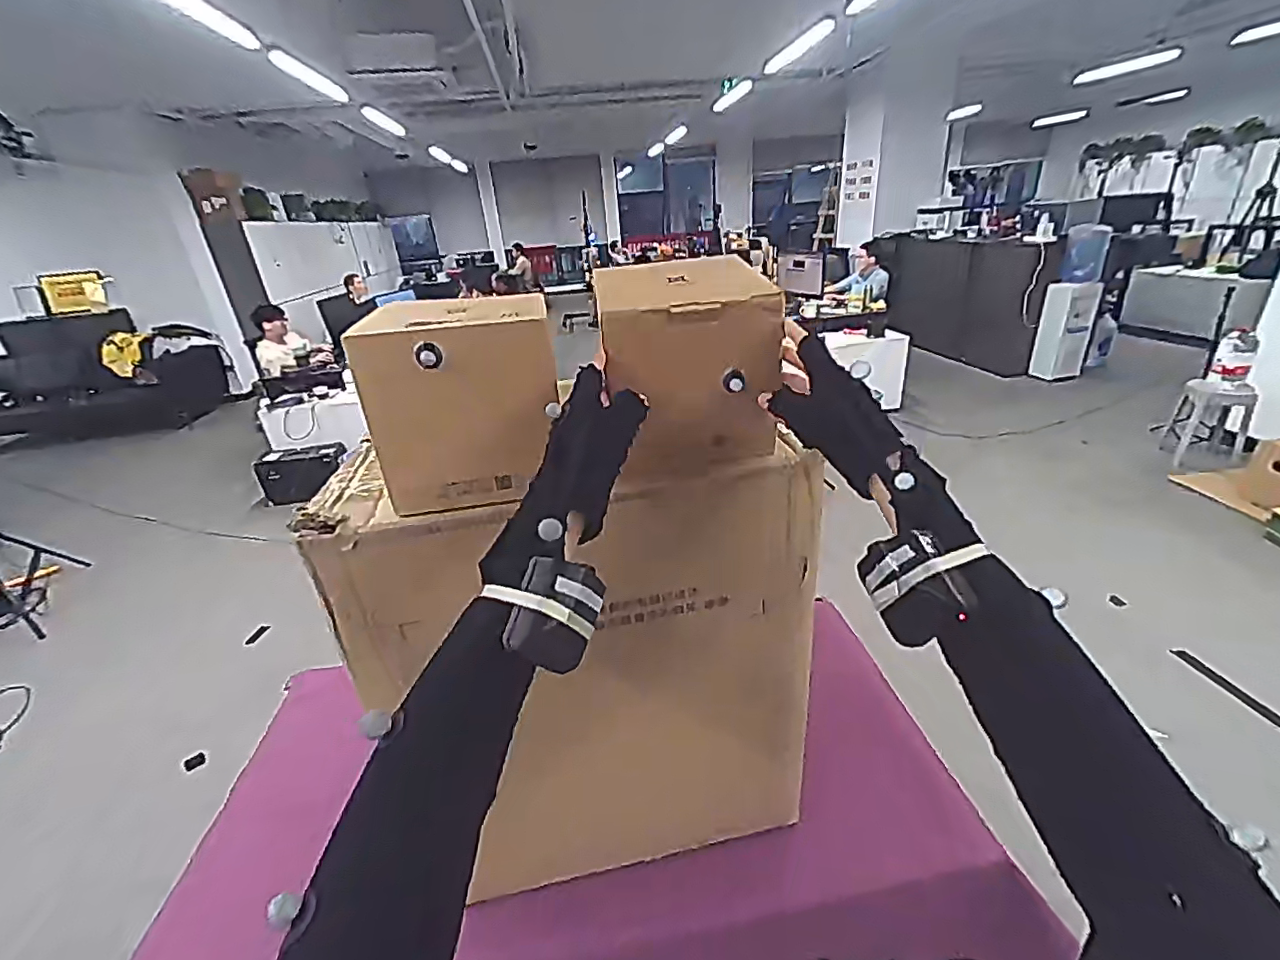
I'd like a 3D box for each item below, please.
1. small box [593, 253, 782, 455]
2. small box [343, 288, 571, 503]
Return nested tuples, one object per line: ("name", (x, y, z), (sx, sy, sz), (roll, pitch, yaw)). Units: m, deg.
("small box", (0.043, -0.134, 0.580), (0.168, 0.176, 0.179), (-7, 30, -4))
("small box", (-0.164, -0.093, 0.544), (0.168, 0.176, 0.179), (-8, 25, -7))
